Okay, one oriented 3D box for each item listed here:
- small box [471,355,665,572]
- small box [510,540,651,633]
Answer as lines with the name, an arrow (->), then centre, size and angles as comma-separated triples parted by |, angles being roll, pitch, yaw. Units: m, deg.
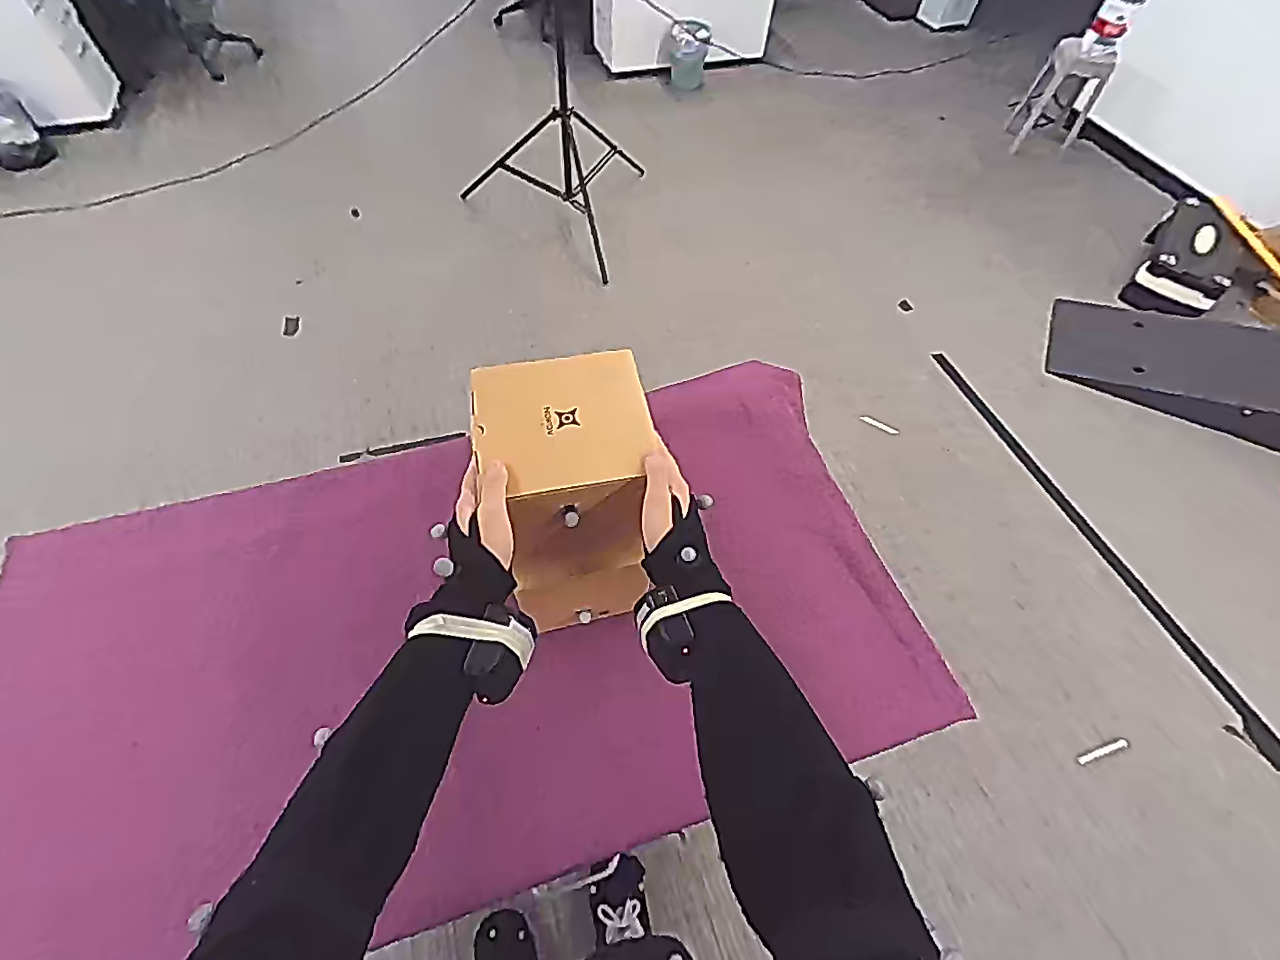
small box -> -0.080, -0.013, 0.606 | 0.179, 0.176, 0.168 | -10, 59, -8
small box -> -0.089, 0.086, 0.735 | 0.168, 0.176, 0.179 | -11, 59, -9
